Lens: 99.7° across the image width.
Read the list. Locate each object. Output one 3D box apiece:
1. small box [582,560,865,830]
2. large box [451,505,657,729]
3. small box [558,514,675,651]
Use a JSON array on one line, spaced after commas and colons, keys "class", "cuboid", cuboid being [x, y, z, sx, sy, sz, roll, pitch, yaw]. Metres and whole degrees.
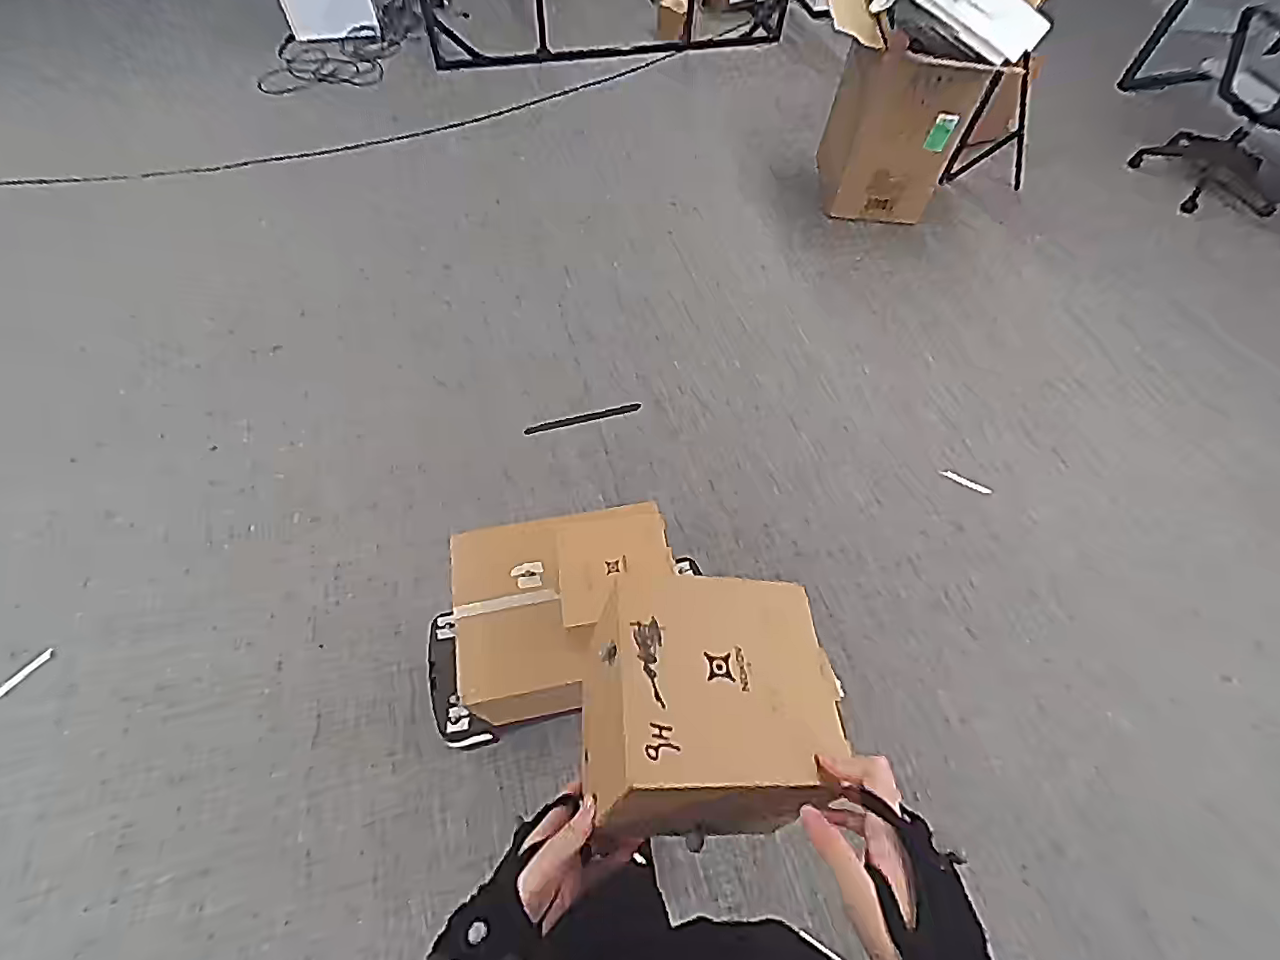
[{"class": "small box", "cuboid": [0.052, 0.191, 0.471, 0.179, 0.176, 0.168, 7, 46, -13]}, {"class": "large box", "cuboid": [-0.131, 0.286, 1.098, 0.408, 0.320, 0.320, -10, 60, -8]}, {"class": "small box", "cuboid": [-0.037, 0.171, 0.885, 0.179, 0.176, 0.168, -7, 61, -6]}]
